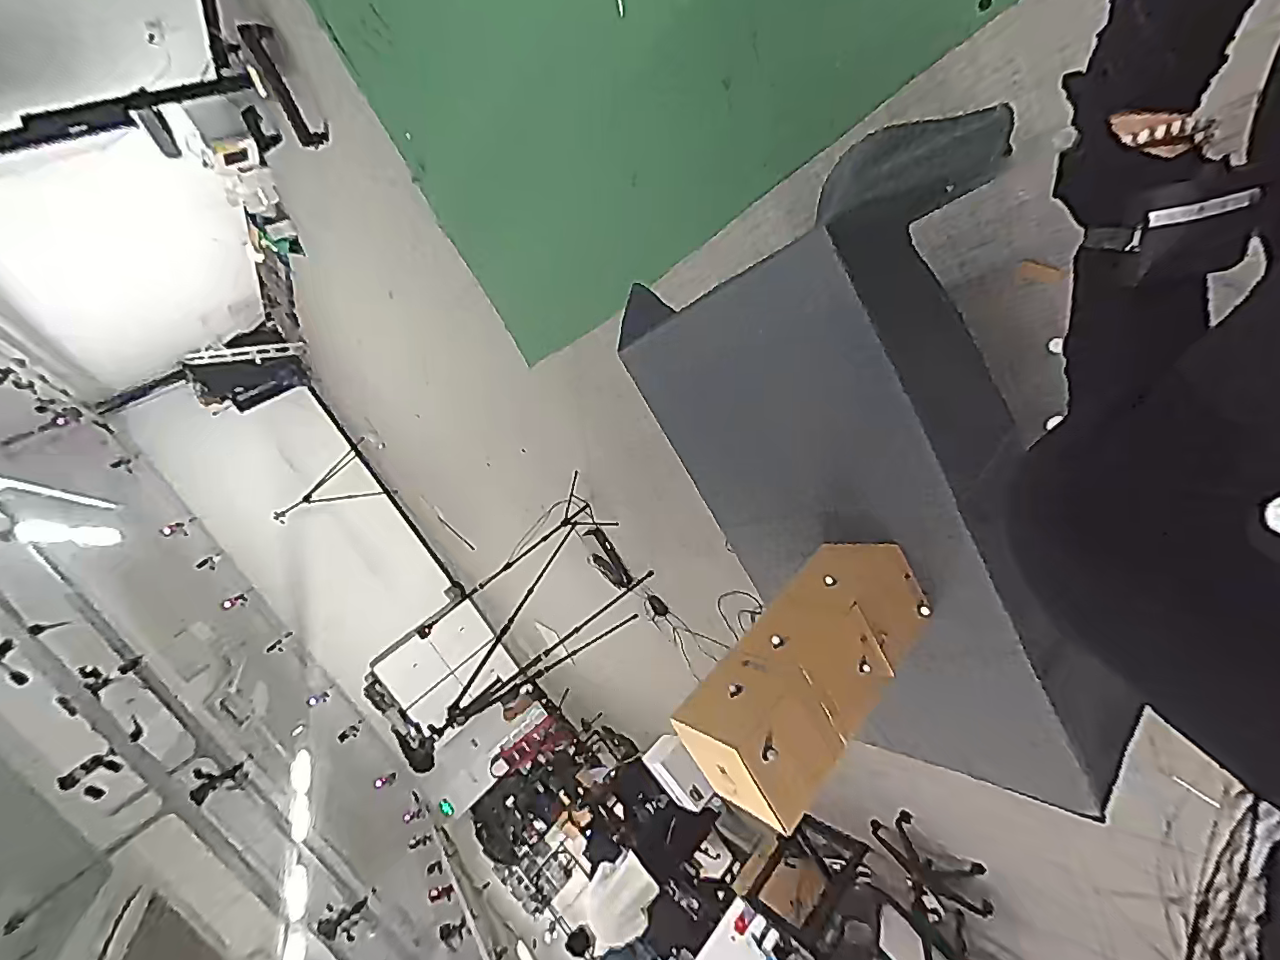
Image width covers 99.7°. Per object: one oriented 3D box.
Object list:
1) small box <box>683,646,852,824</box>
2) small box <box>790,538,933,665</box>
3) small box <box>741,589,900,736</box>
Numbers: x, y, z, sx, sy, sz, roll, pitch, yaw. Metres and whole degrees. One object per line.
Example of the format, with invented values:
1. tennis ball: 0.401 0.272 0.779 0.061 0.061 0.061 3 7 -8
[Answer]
1. small box: 0.209 0.399 0.883 0.168 0.176 0.179 -9 115 58
2. small box: 0.434 0.225 1.044 0.168 0.176 0.179 58 152 -11
3. small box: 0.322 0.312 0.965 0.168 0.176 0.179 58 150 -11
